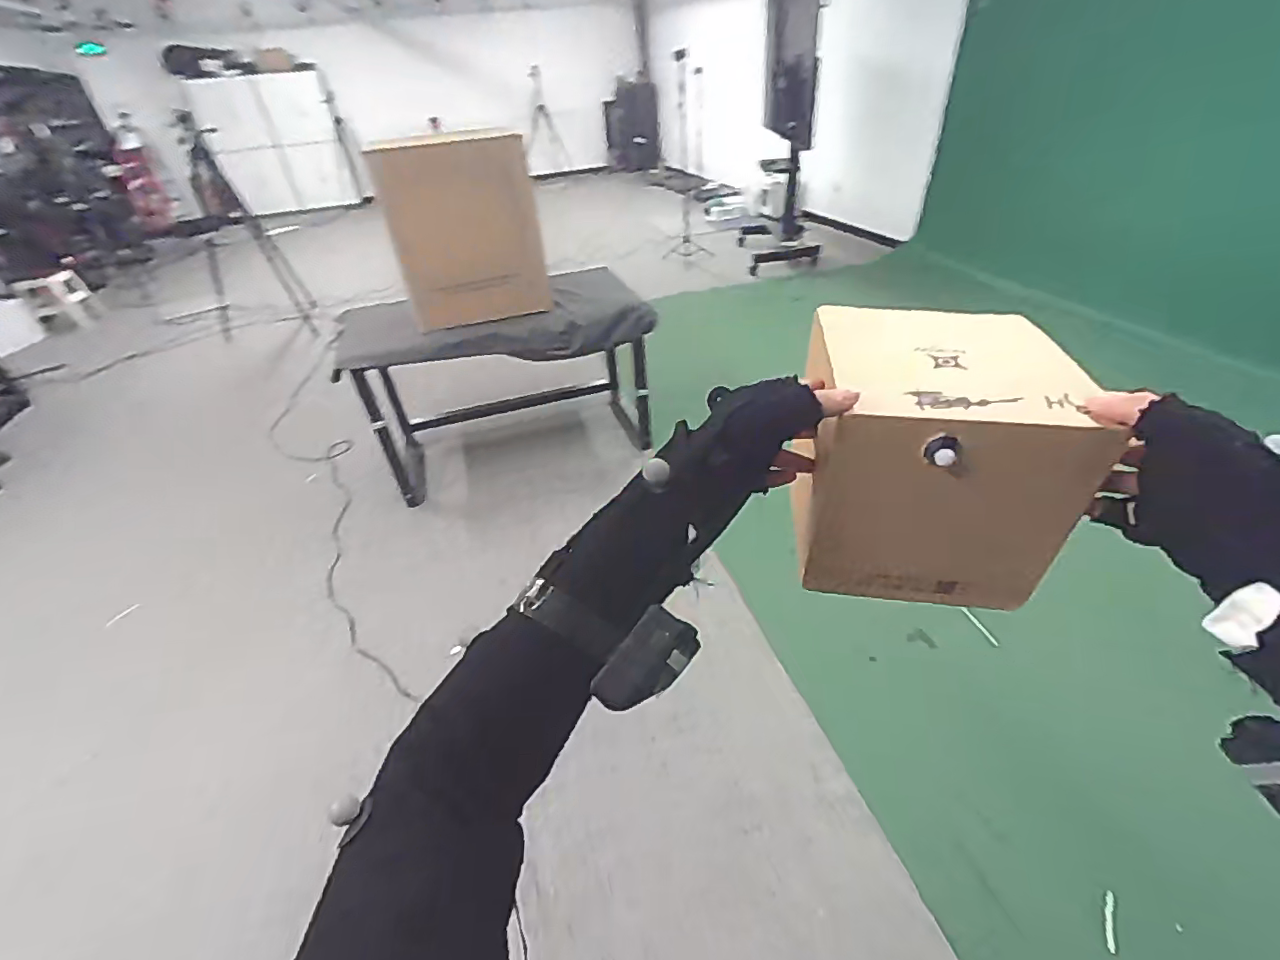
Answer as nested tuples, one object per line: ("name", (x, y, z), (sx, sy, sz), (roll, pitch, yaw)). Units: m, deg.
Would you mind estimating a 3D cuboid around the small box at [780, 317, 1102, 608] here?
("small box", (0.212, -0.021, 0.449), (0.168, 0.176, 0.179), (3, 37, 8))
